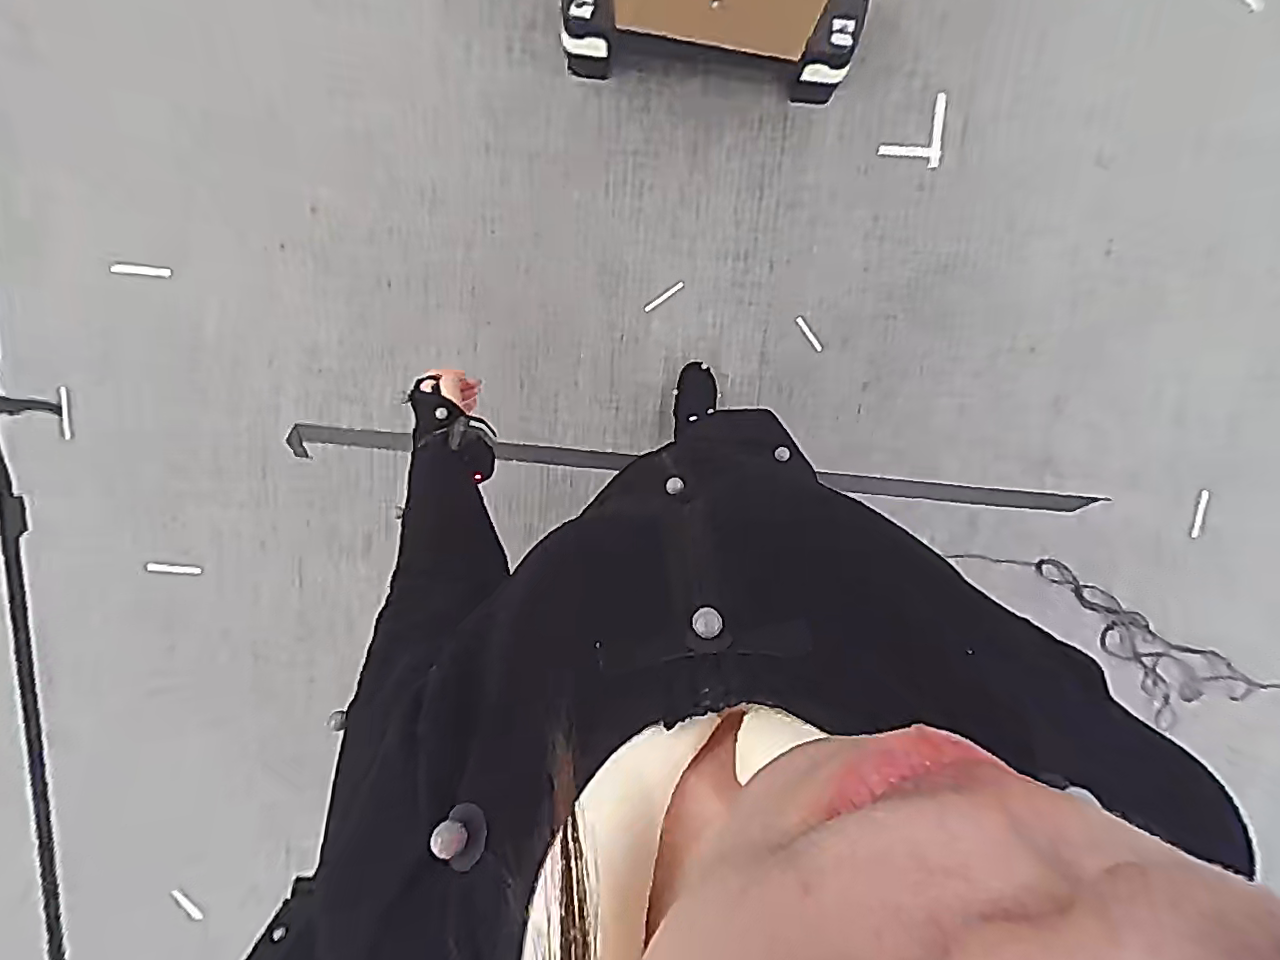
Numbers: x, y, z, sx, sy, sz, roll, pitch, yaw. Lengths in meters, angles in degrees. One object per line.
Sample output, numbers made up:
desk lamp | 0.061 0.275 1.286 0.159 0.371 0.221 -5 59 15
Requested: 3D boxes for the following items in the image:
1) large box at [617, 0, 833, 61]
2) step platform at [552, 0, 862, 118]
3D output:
large box | 0.173 -1.046 0.991 0.408 0.320 0.320 9 97 0
step platform | 0.146 -1.080 1.227 0.684 0.204 0.286 11 98 -1
